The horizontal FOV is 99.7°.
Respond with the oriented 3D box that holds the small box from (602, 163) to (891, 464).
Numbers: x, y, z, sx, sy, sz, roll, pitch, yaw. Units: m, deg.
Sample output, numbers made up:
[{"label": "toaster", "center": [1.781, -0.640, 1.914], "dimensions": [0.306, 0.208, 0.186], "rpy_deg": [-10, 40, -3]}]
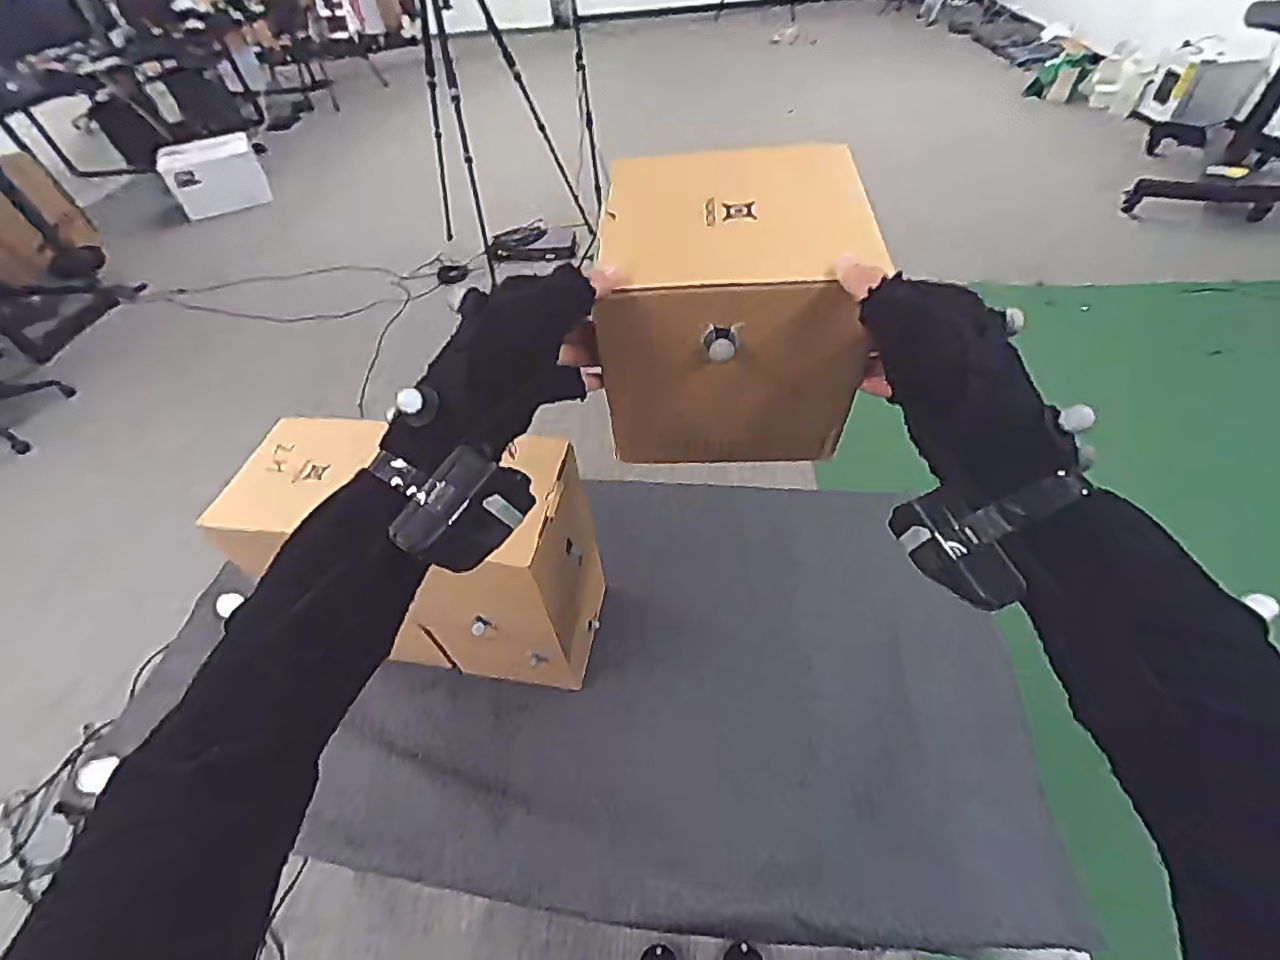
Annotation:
[{"label": "small box", "center": [0.073, -0.125, 0.435], "dimensions": [0.179, 0.176, 0.168], "rpy_deg": [0, 53, 6]}]
